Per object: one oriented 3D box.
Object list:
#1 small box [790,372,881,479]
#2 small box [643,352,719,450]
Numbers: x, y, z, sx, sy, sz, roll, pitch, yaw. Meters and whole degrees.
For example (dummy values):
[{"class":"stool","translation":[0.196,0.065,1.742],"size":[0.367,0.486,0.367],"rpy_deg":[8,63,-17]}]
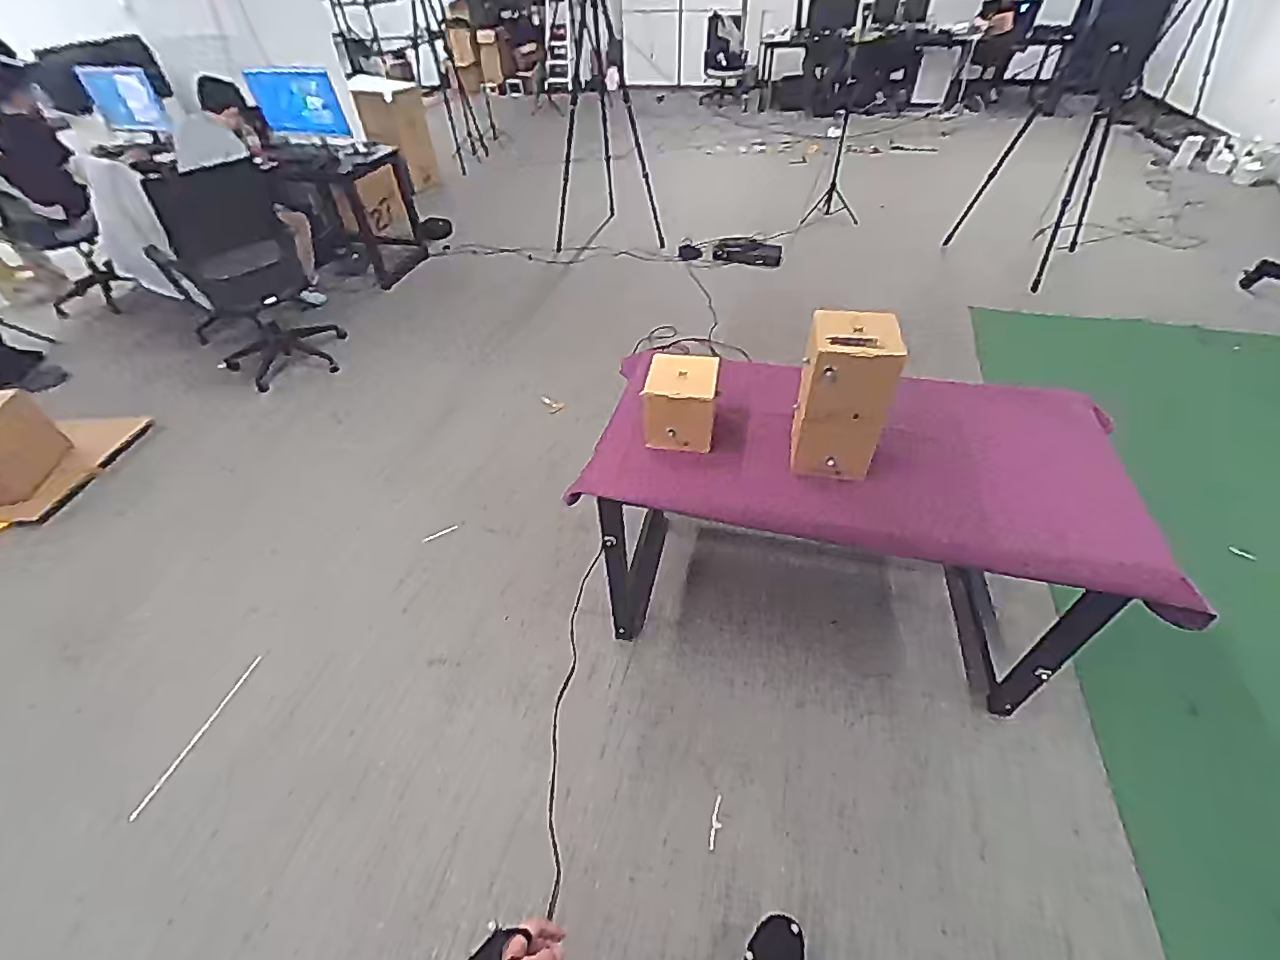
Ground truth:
[{"class":"small box","translation":[0.447,-0.128,1.259],"size":[0.168,0.176,0.179],"rpy_deg":[7,45,11]},{"class":"small box","translation":[0.102,-0.198,1.352],"size":[0.168,0.176,0.179],"rpy_deg":[6,46,8]}]
